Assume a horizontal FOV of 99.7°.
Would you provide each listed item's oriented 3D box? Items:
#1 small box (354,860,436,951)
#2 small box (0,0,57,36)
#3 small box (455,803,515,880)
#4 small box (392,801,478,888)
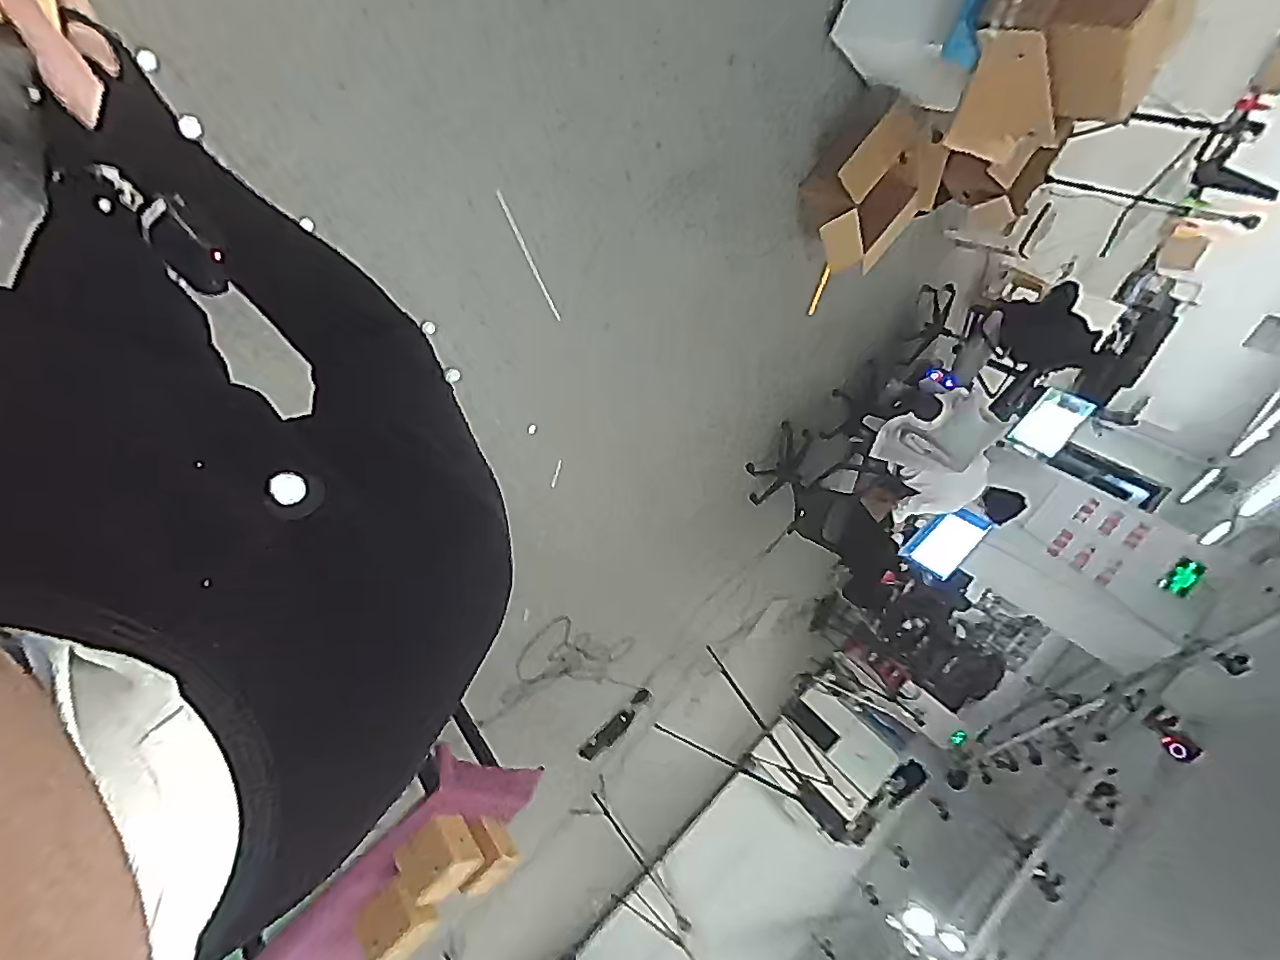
[{"bbox_3d":[-0.838,1.436,1.837,0.179,0.176,0.168,-41,147,-12],"label":"small box"},{"bbox_3d":[-0.542,-0.427,0.362,0.179,0.176,0.168,-16,125,-41],"label":"small box"},{"bbox_3d":[-0.605,1.341,2.015,0.179,0.176,0.168,-41,146,-11],"label":"small box"},{"bbox_3d":[-0.673,1.188,1.778,0.168,0.176,0.179,-43,148,-10],"label":"small box"}]
